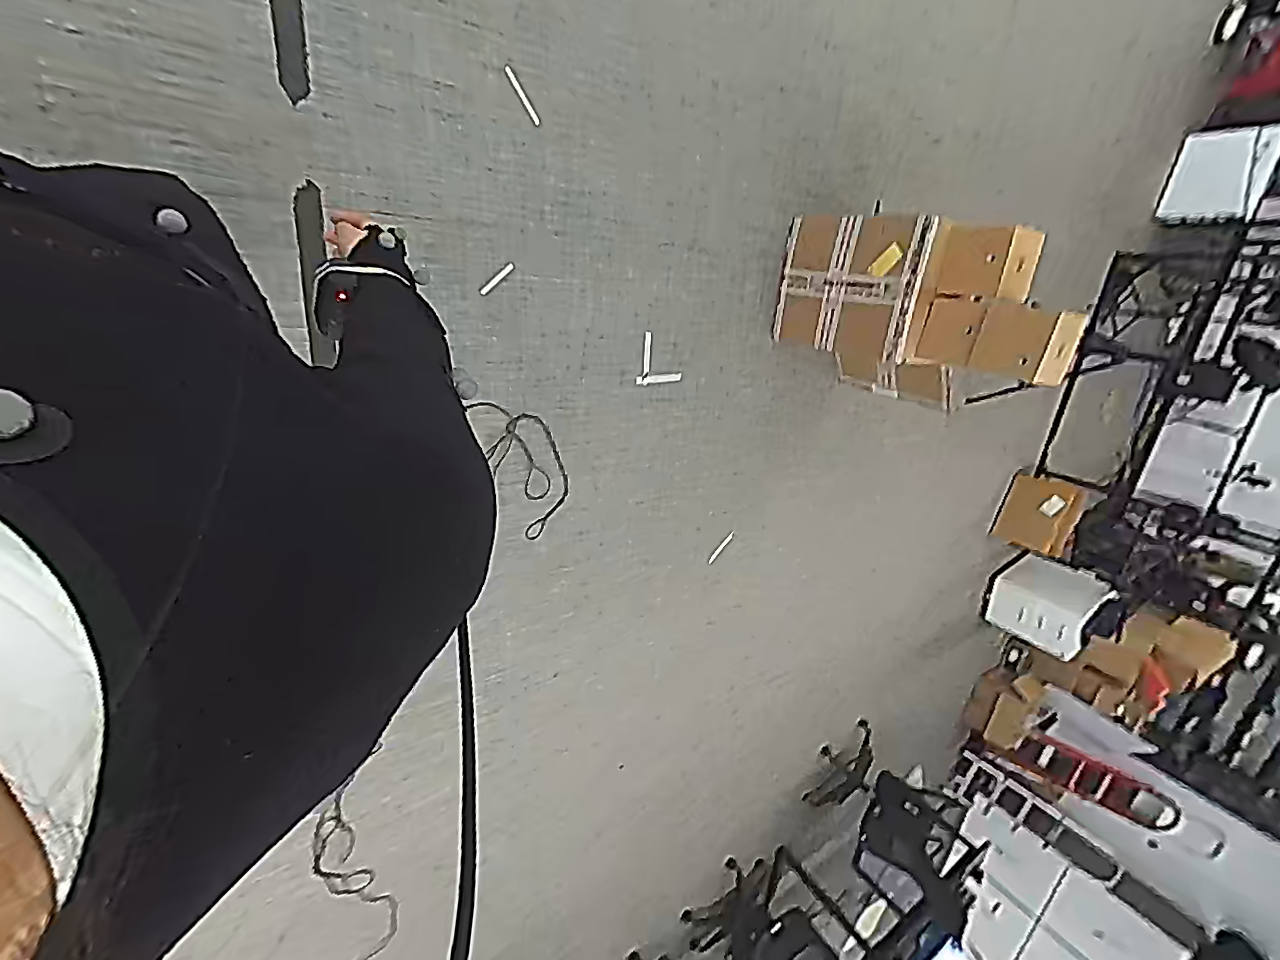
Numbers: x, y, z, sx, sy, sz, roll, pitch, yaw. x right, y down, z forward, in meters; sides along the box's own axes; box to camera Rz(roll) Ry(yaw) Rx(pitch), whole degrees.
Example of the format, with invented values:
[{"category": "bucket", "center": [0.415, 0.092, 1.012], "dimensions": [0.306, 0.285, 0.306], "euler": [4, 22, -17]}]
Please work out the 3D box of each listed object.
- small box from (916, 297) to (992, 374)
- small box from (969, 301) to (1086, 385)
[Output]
[{"category": "small box", "center": [0.924, -0.414, 1.539], "dimensions": [0.168, 0.176, 0.179], "euler": [-1, 113, -34]}, {"category": "small box", "center": [0.991, -0.354, 1.399], "dimensions": [0.168, 0.176, 0.179], "euler": [-5, 115, -33]}]
